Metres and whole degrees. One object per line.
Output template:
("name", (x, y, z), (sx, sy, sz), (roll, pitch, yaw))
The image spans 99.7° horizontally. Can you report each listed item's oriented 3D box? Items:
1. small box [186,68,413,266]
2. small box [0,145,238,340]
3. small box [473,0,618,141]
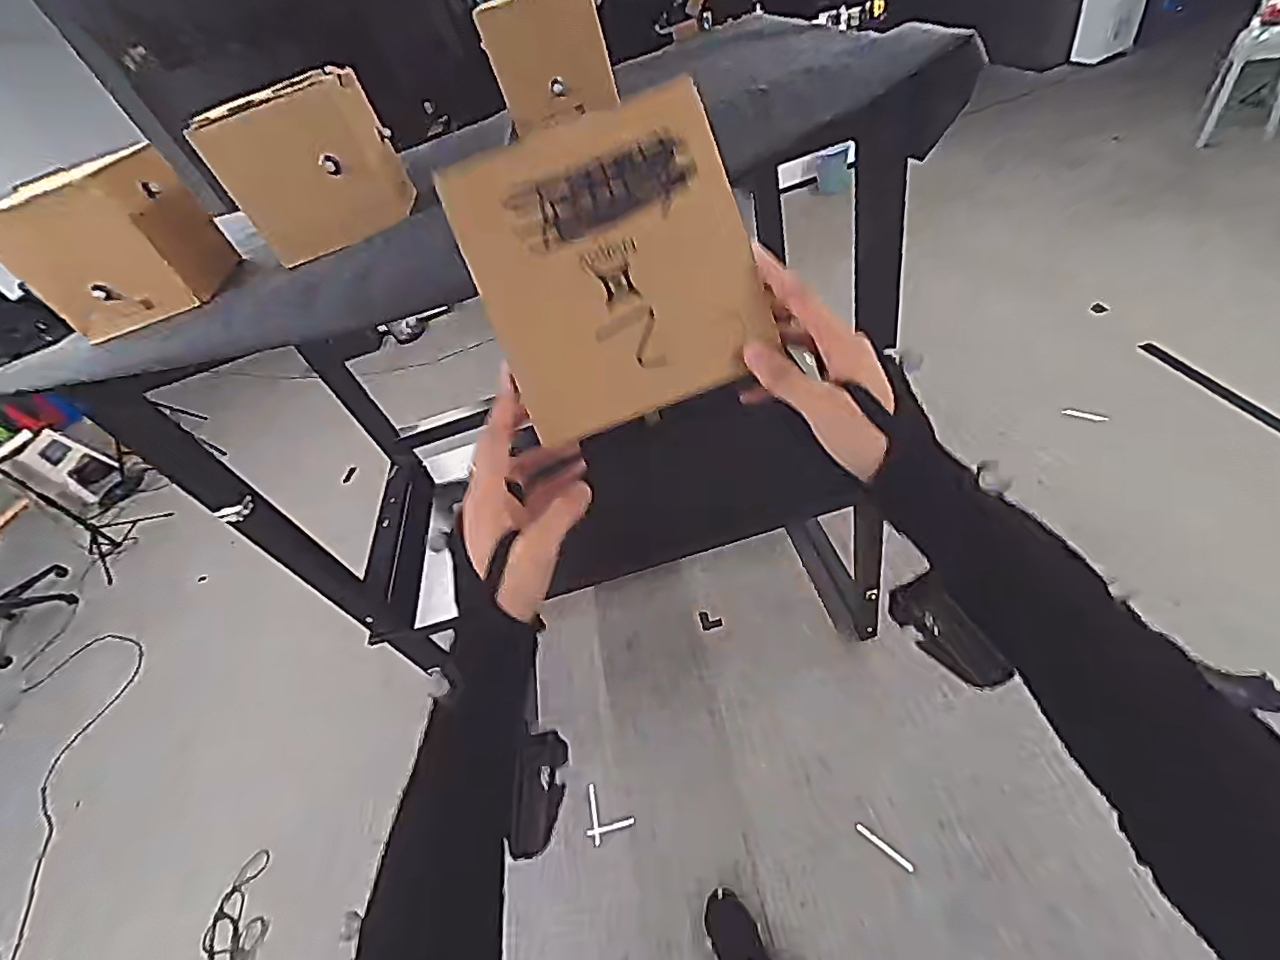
("small box", (-0.430, -0.416, 0.723), (0.179, 0.176, 0.168), (-19, 42, 2))
("small box", (-0.696, -0.318, 0.730), (0.168, 0.176, 0.179), (-20, 44, 1))
("small box", (-0.140, -0.660, 0.847), (0.168, 0.176, 0.179), (-16, 44, 6))
